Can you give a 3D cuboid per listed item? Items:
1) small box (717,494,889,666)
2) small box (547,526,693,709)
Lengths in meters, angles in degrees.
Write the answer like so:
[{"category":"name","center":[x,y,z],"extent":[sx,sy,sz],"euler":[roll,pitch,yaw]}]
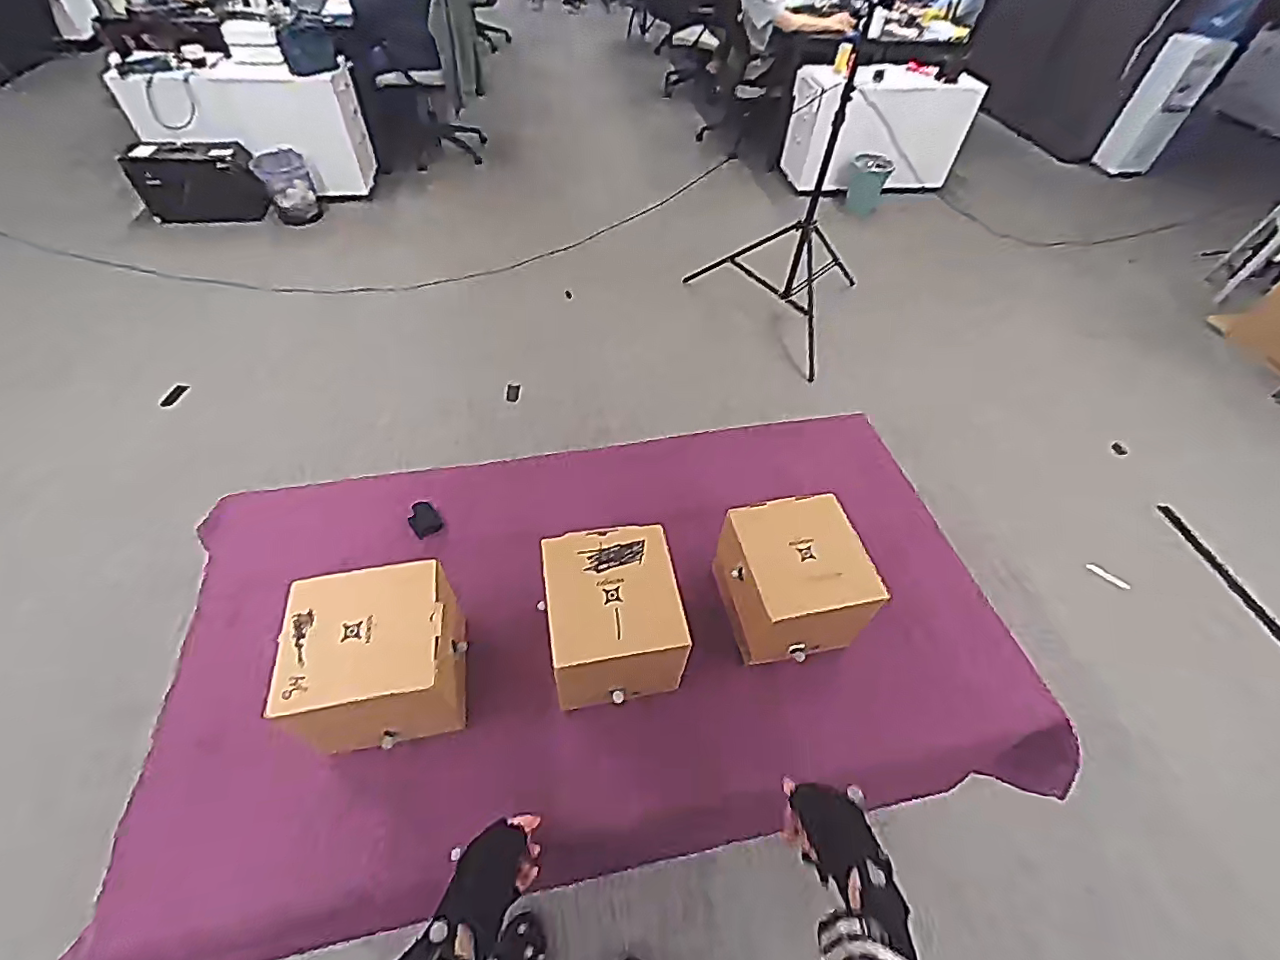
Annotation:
[{"category":"small box","center":[0.222,0.147,0.796],"extent":[0.168,0.176,0.179],"euler":[-9,52,-9]},{"category":"small box","center":[-0.036,0.189,0.743],"extent":[0.168,0.176,0.179],"euler":[-7,52,-9]}]
